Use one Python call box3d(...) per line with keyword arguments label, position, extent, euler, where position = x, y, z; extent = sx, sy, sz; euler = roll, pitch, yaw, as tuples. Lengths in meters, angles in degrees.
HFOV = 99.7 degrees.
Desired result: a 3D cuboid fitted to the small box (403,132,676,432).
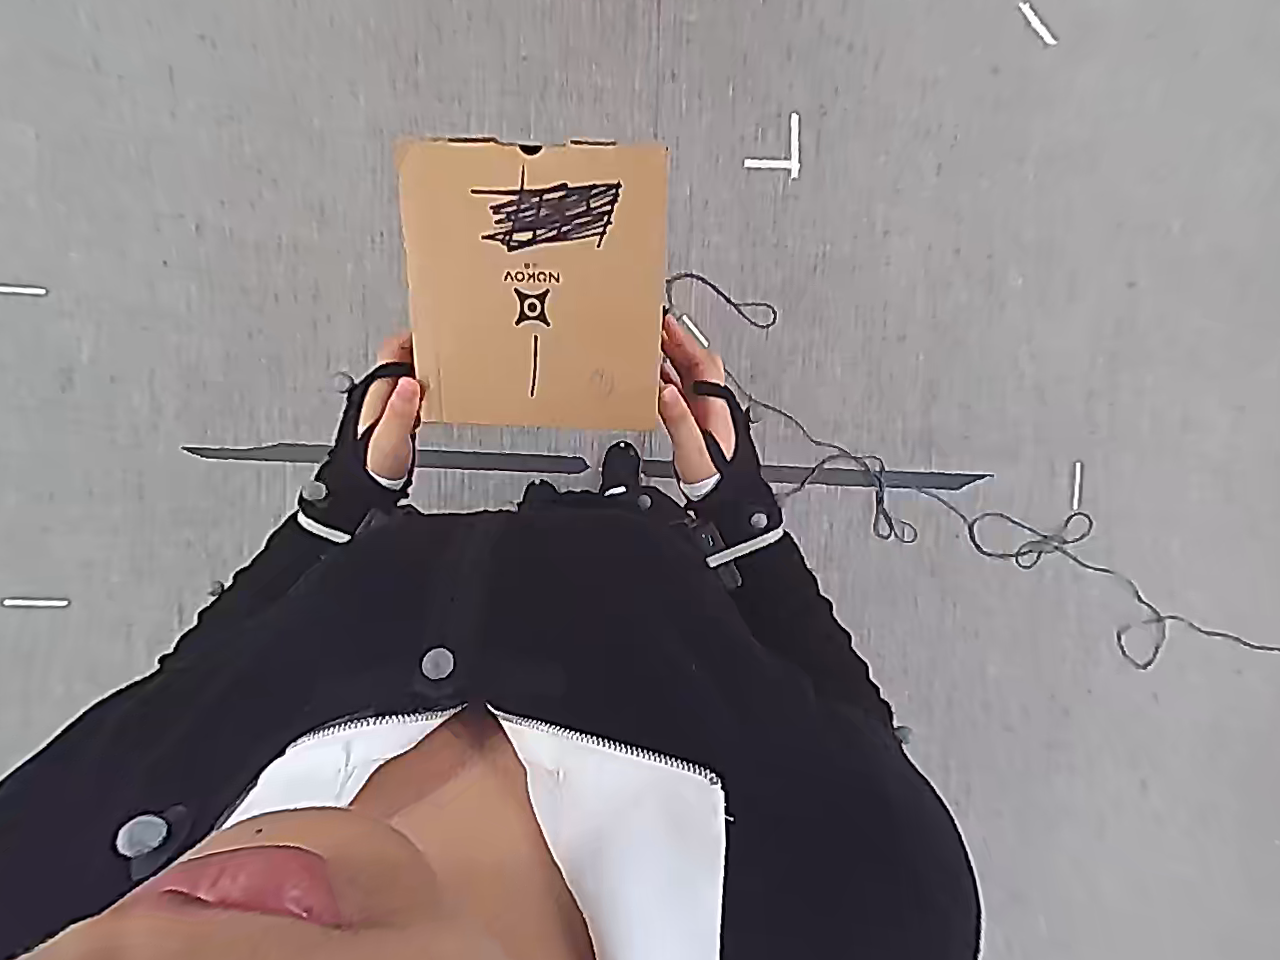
box3d(label="small box", position=(-0.062, -0.141, 0.420), extent=(0.168, 0.176, 0.179), euler=(3, 106, 2))
